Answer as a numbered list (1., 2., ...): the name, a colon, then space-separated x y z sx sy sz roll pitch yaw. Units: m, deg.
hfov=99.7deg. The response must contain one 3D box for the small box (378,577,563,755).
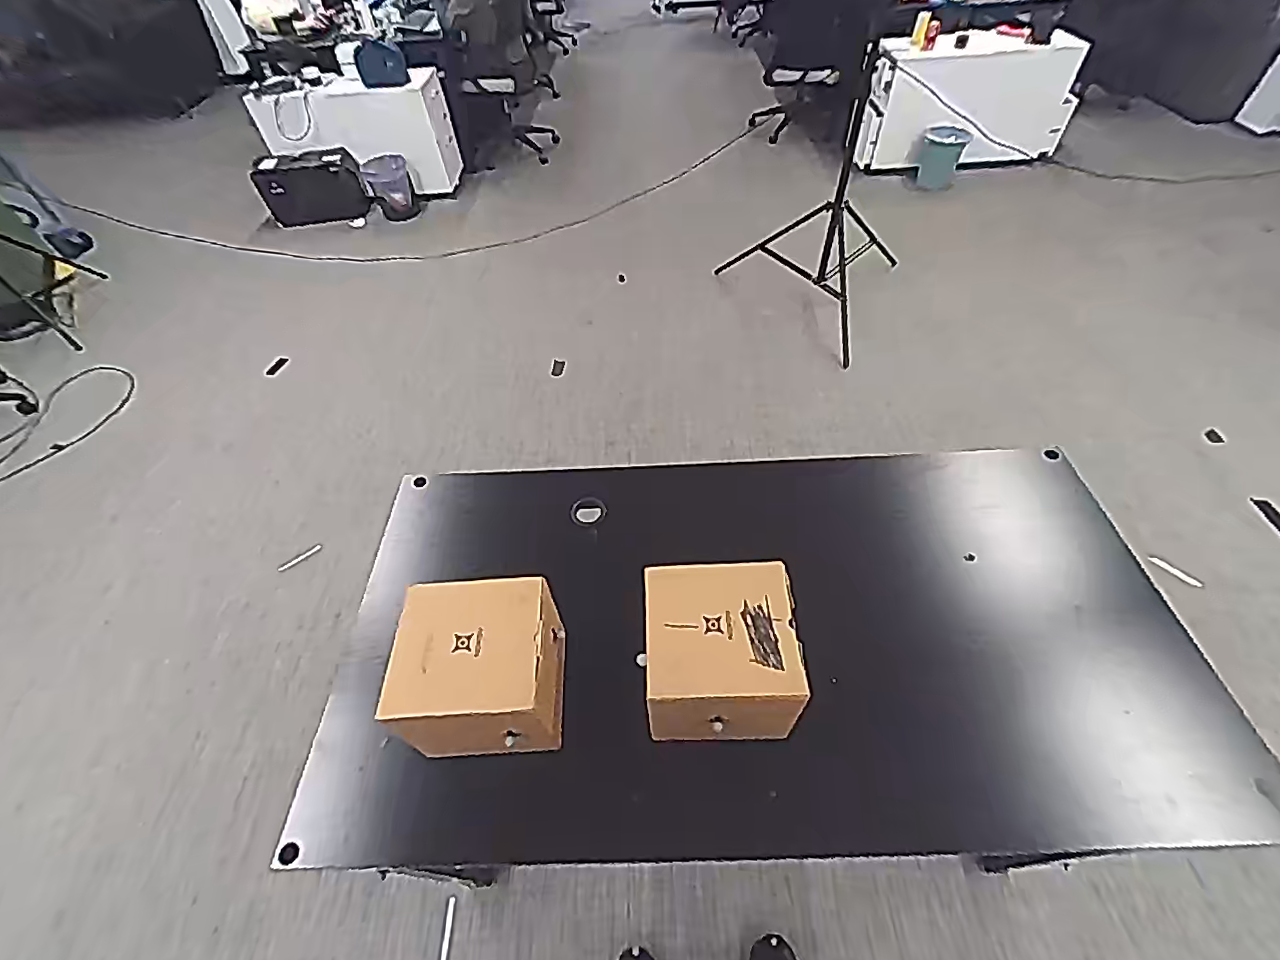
1. small box: -0.198 0.242 0.697 0.179 0.176 0.168 -5 50 1

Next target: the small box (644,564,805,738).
1. small box: 0.096 0.221 0.693 0.179 0.176 0.168 -2 50 3
